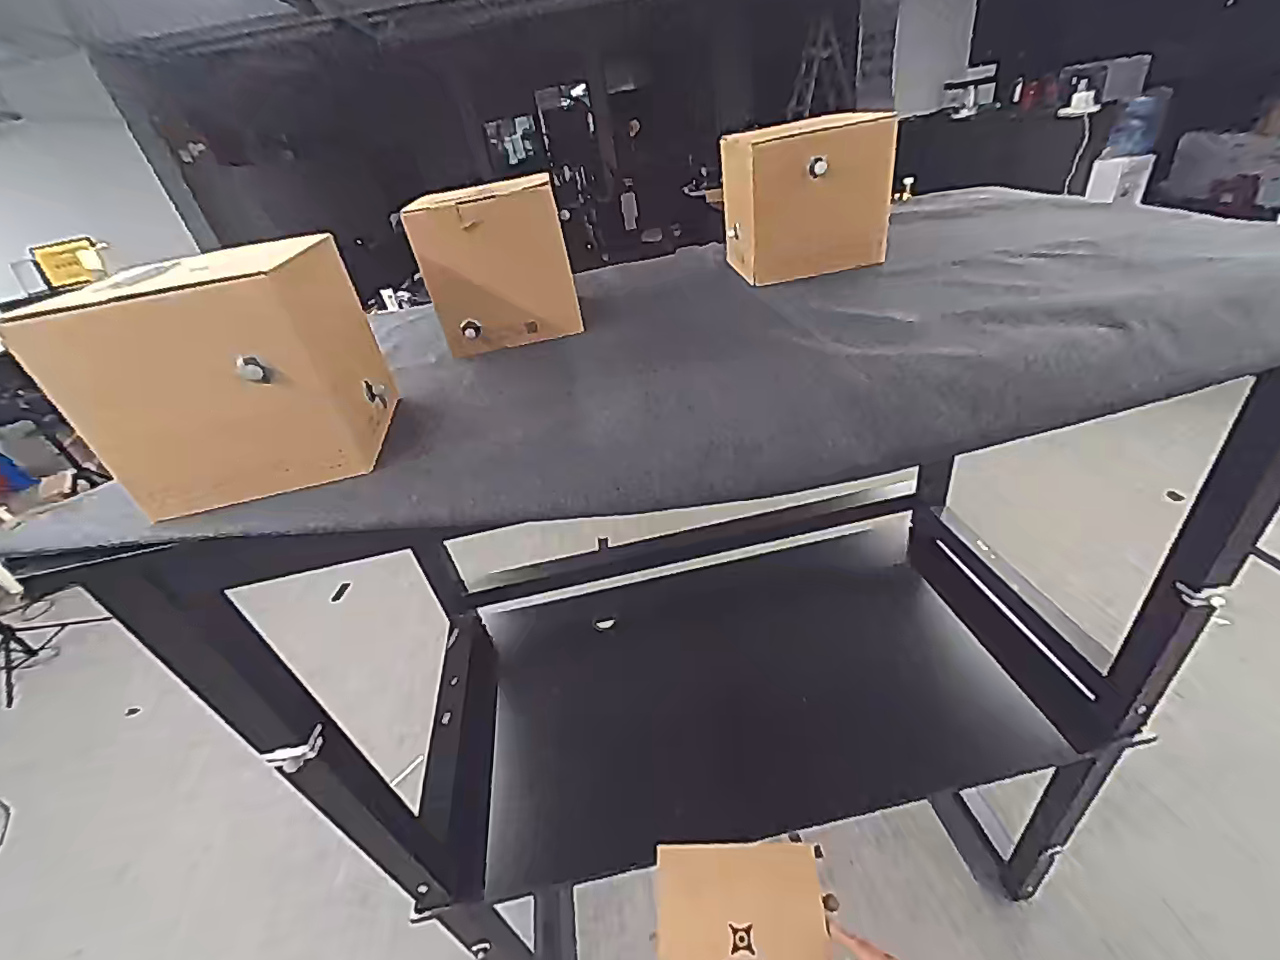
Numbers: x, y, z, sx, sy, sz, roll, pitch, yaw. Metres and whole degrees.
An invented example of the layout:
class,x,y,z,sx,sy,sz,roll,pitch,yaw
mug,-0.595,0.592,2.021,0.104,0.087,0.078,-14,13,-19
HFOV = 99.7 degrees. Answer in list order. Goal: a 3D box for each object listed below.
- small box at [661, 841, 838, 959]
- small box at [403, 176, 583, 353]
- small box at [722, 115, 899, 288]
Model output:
class,x,y,z,sx,sy,sz,roll,pitch,yaw
small box,0.116,0.499,0.560,0.168,0.176,0.179,-8,43,10
small box,-0.173,-0.273,0.692,0.168,0.176,0.179,-13,33,-2
small box,0.217,-0.375,0.727,0.179,0.176,0.168,-11,34,1
